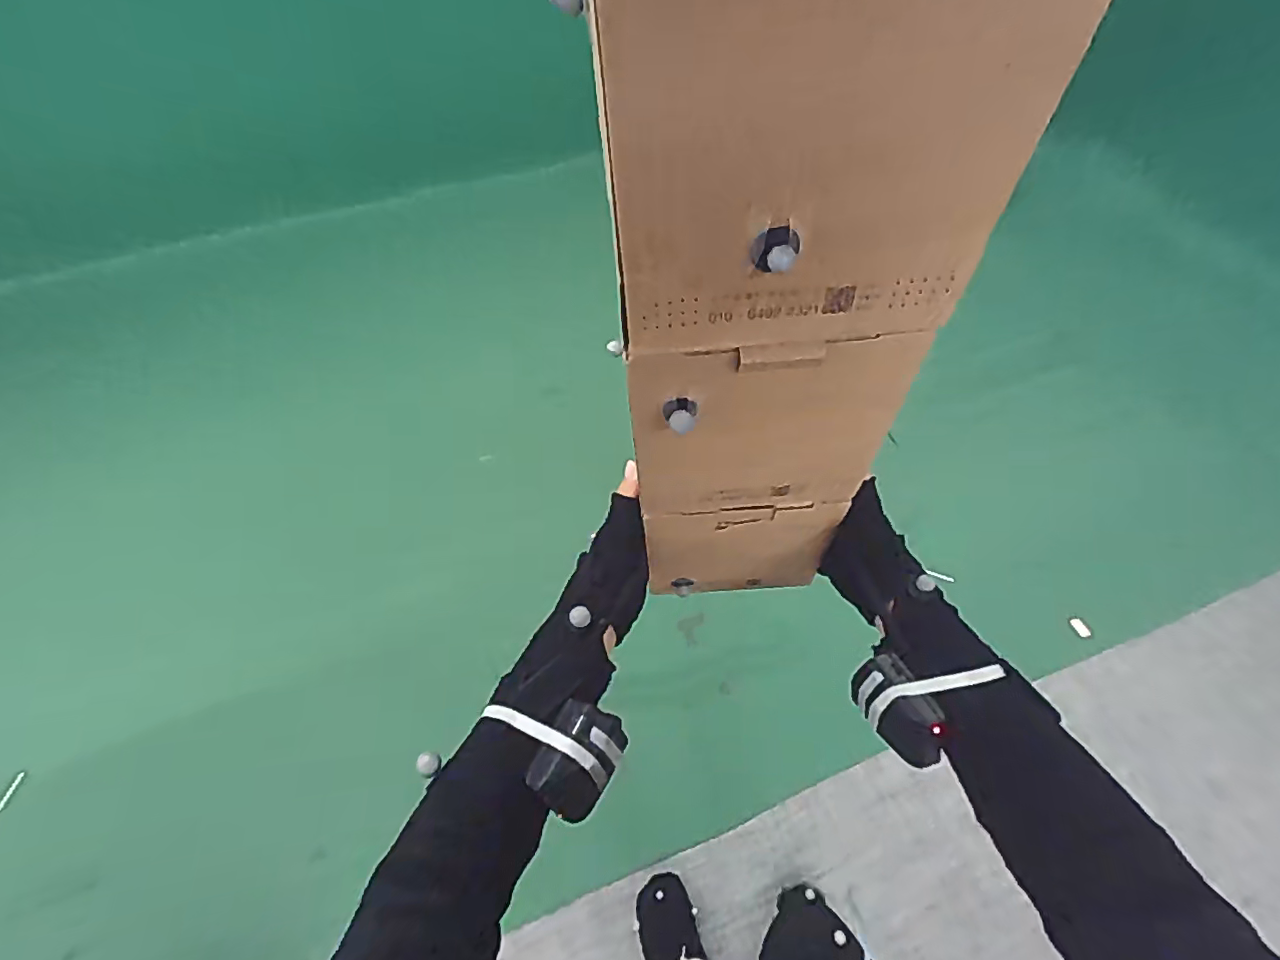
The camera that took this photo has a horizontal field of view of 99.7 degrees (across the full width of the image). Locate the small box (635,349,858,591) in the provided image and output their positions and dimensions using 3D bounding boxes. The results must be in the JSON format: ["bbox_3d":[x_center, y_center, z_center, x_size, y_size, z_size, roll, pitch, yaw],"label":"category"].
[{"bbox_3d":[0.089,0.000,0.532,0.168,0.176,0.179,-7,58,0],"label":"small box"}]

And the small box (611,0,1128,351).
[{"bbox_3d":[0.071,-0.188,0.264,0.168,0.176,0.179,-6,56,-1],"label":"small box"}]
